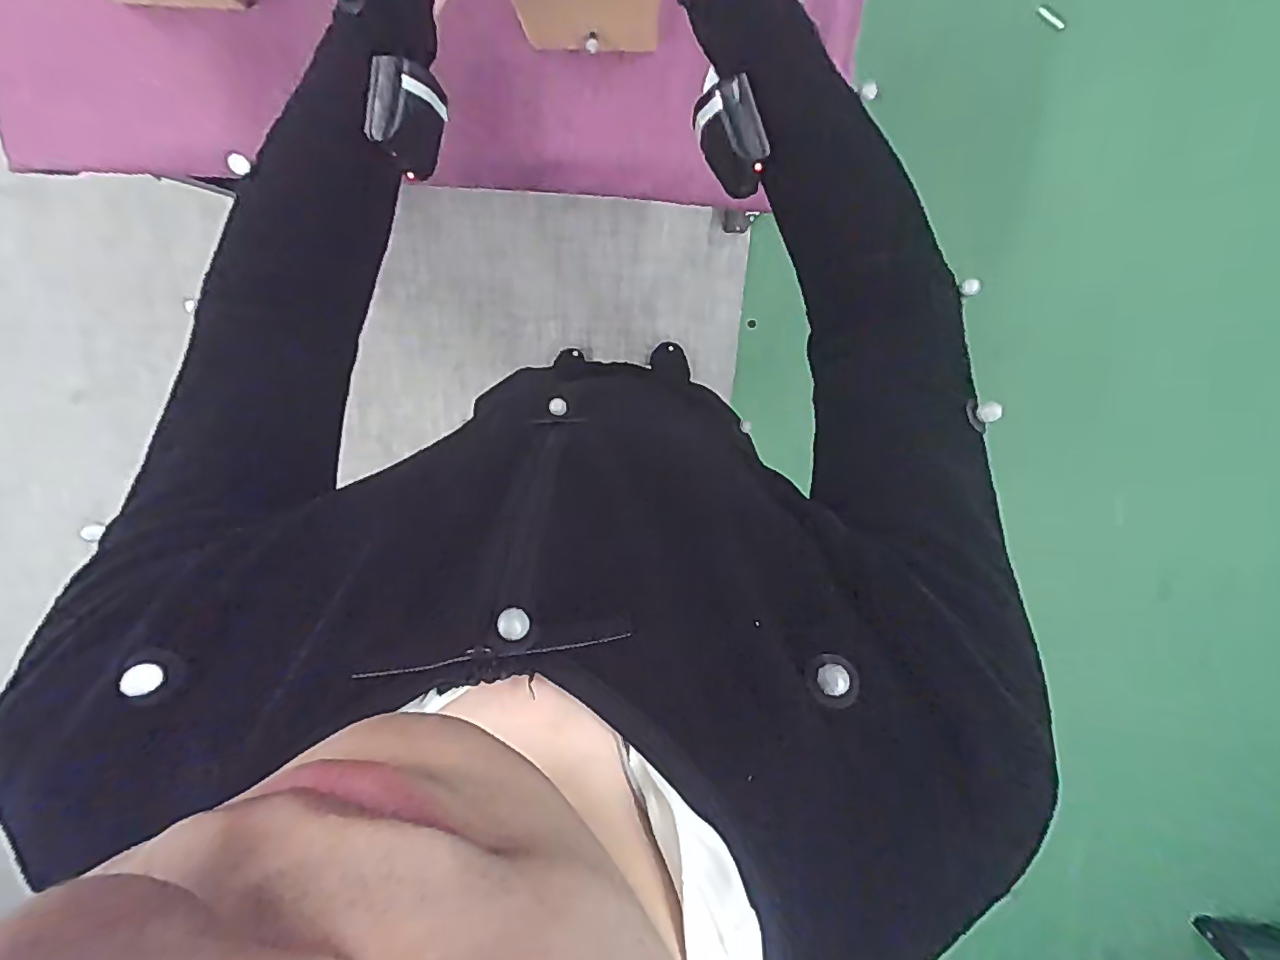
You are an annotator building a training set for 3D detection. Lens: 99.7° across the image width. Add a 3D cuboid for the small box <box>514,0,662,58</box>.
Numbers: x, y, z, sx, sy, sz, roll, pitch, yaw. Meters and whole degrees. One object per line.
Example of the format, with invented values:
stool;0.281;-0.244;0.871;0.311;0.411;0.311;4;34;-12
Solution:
small box;-0.058;-0.645;0.652;0.179;0.176;0.168;2;106;1
